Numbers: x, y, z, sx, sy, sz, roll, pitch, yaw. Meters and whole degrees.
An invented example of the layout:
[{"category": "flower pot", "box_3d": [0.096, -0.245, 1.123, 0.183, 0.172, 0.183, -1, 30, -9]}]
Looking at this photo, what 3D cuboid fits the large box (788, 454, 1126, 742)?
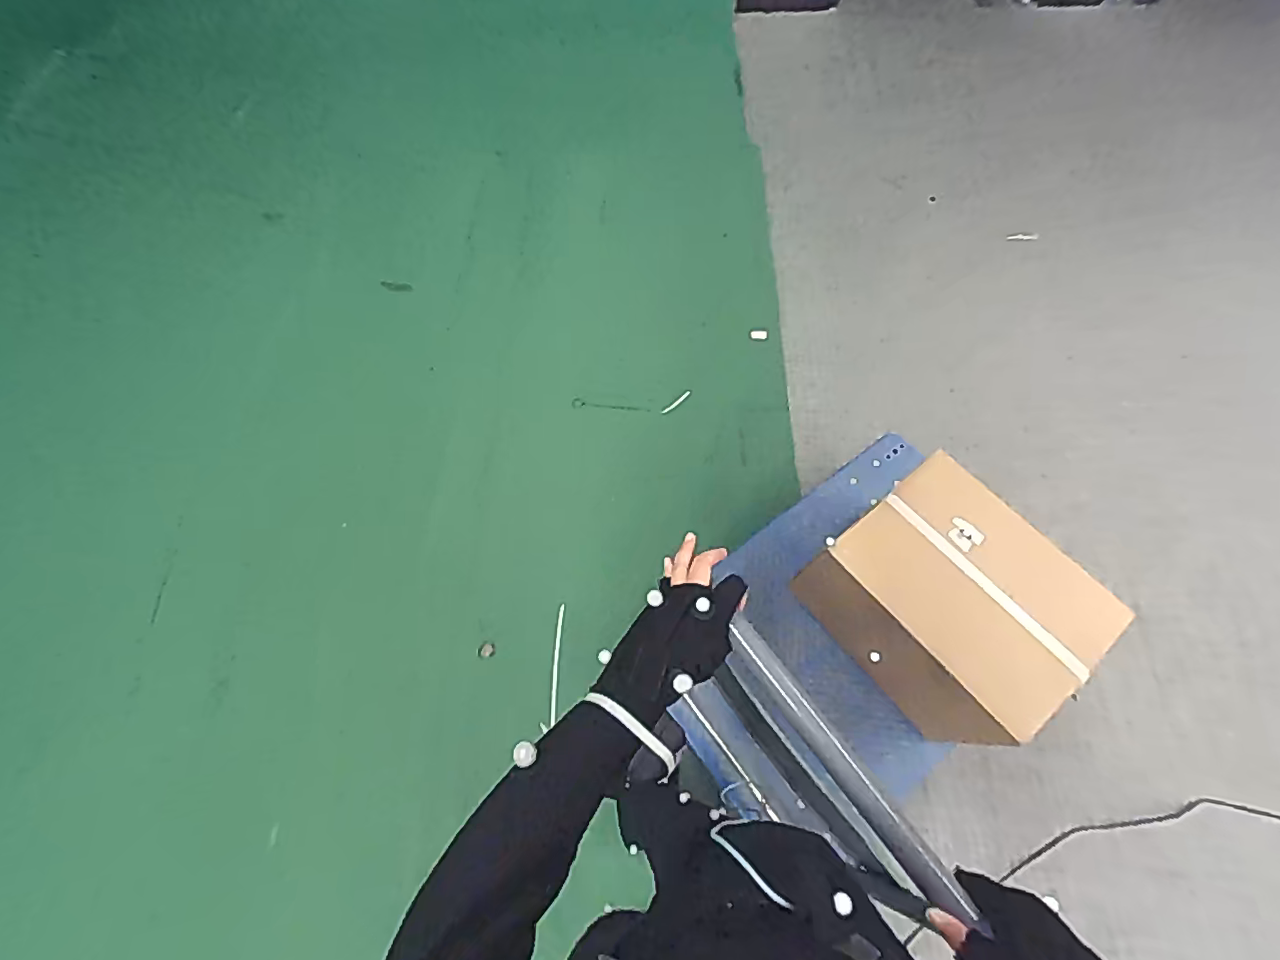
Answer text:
[{"category": "large box", "box_3d": [0.564, 0.235, 1.052, 0.320, 0.320, 0.408, -36, 69, -14]}]
